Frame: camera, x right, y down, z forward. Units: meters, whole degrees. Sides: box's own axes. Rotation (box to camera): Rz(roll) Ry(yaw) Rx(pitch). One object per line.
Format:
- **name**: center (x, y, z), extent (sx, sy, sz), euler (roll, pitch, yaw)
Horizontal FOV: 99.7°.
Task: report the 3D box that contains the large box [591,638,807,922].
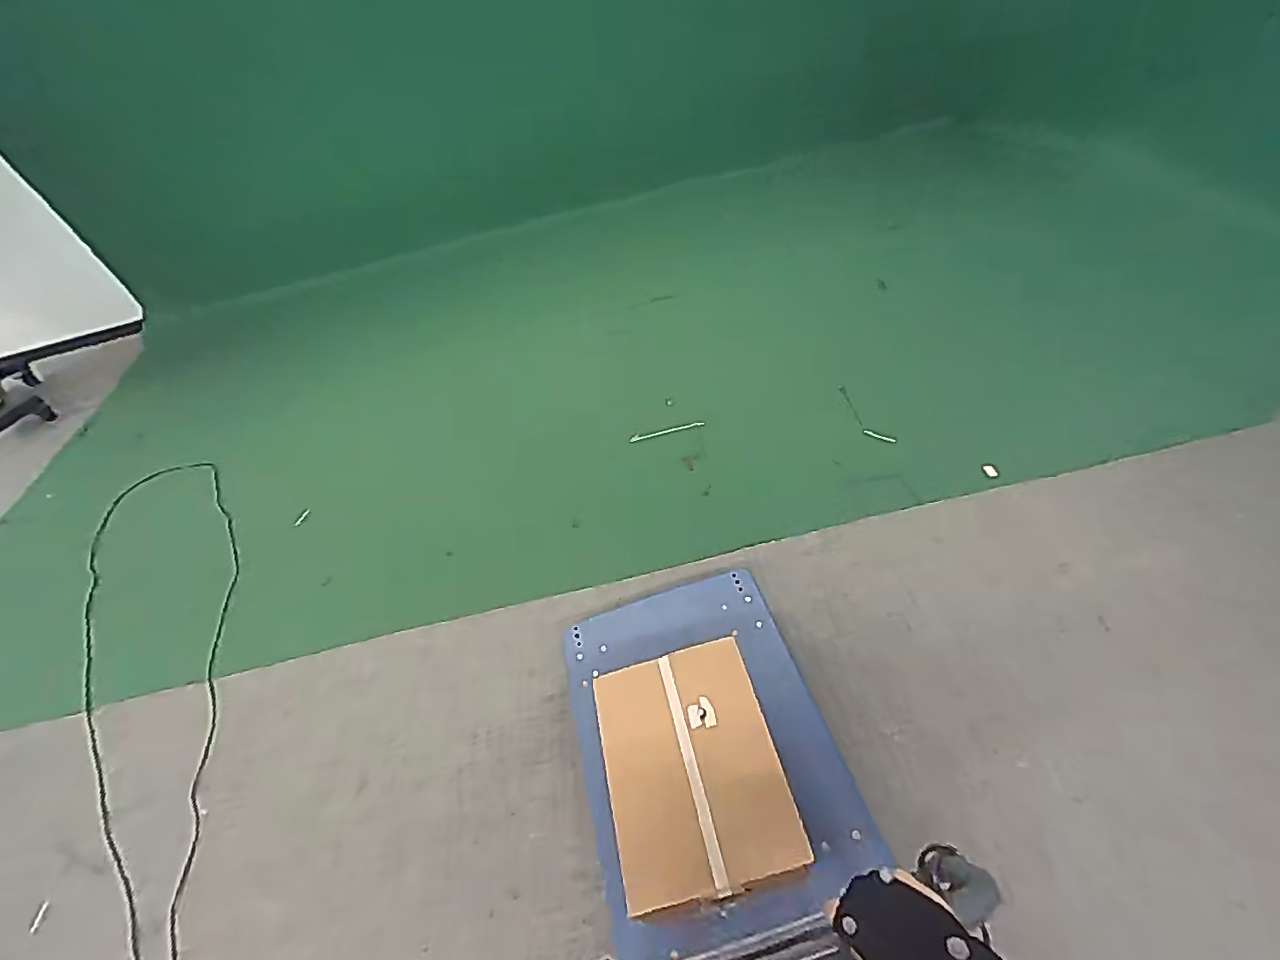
- **large box**: center (0.115, 0.610, 1.111), extent (0.320, 0.320, 0.408), euler (-16, 47, 0)
